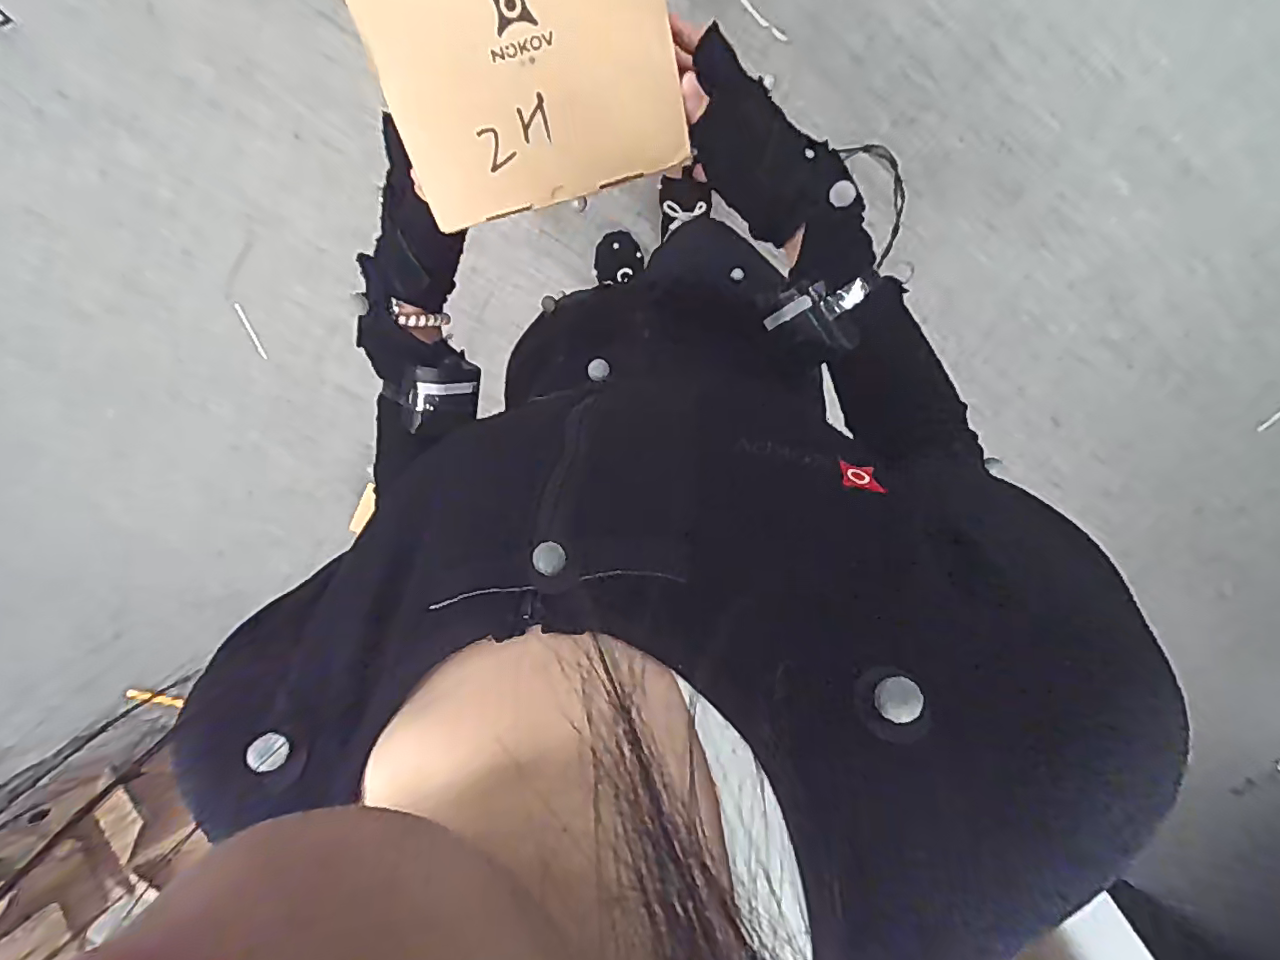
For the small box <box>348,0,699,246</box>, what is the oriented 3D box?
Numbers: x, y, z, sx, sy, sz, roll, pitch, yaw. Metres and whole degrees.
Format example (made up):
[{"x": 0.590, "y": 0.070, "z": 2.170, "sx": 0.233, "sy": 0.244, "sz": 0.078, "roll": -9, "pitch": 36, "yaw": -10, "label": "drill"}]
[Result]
[{"x": -0.067, "y": -0.275, "z": 0.356, "sx": 0.168, "sy": 0.176, "sz": 0.179, "roll": -13, "pitch": 122, "yaw": 5, "label": "small box"}]
